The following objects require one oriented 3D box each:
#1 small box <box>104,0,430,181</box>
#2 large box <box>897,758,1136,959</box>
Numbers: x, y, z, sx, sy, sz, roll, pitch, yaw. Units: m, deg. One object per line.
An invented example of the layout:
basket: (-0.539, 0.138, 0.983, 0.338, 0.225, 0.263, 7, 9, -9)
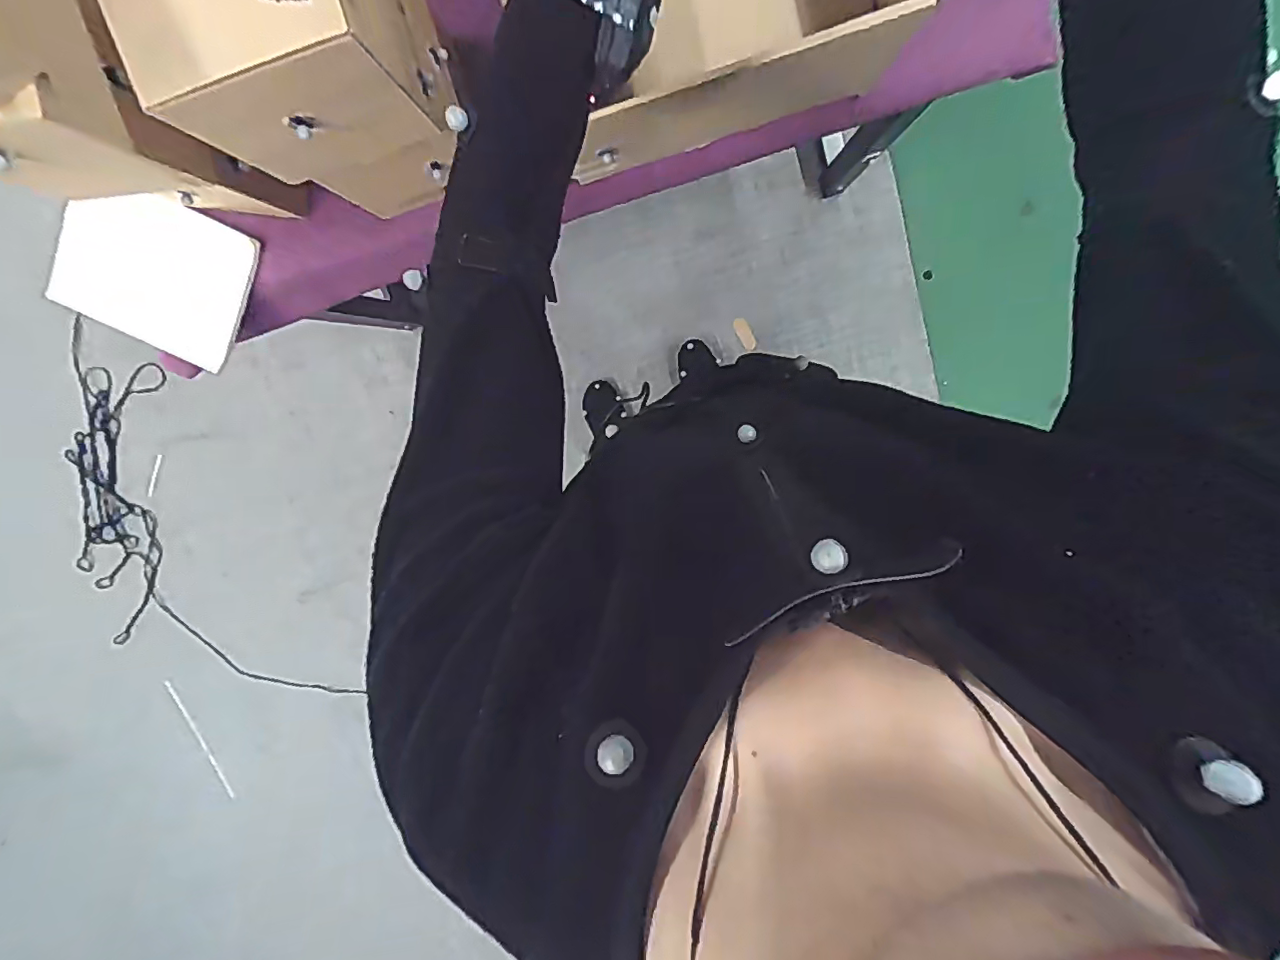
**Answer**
small box: (-0.304, -0.390, 0.461, 0.179, 0.176, 0.168, -16, 99, 5)
large box: (1.039, 1.091, 1.541, 0.408, 0.320, 0.320, -31, 99, 8)
